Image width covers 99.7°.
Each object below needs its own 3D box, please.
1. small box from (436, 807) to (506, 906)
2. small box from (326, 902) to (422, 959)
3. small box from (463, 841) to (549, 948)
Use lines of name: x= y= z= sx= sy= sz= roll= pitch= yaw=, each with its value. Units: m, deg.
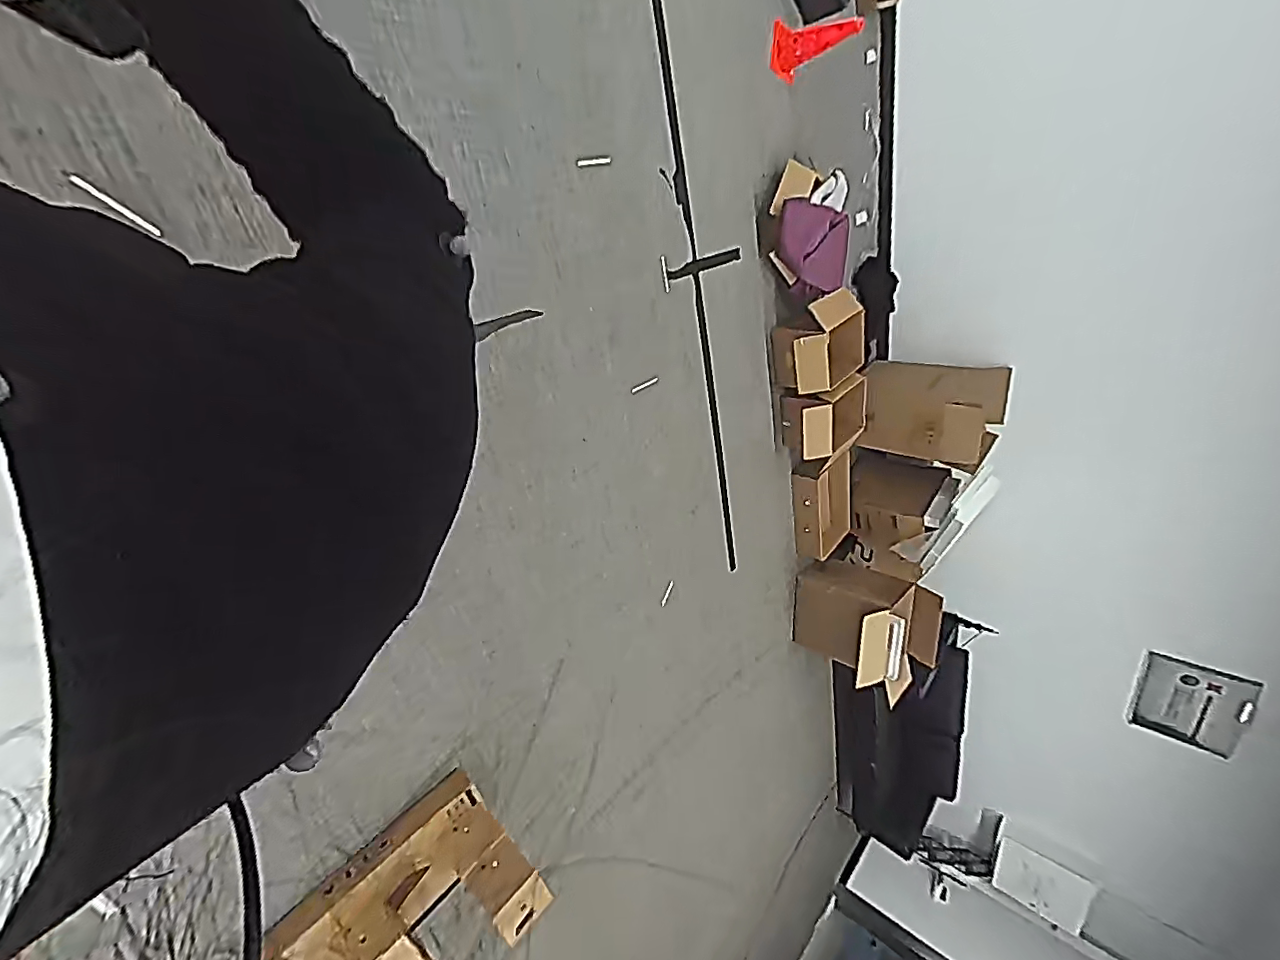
small box: x=-0.536 y=1.226 z=1.775 sx=0.168 sy=0.176 sz=0.179 roll=-34 pitch=124 yaw=-36
small box: x=-0.773 y=1.382 z=1.569 sx=0.168 sy=0.176 sz=0.179 roll=-36 pitch=125 yaw=-37
small box: x=-0.415 y=1.273 z=1.674 sx=0.168 sy=0.176 sz=0.179 roll=-35 pitch=125 yaw=-35
